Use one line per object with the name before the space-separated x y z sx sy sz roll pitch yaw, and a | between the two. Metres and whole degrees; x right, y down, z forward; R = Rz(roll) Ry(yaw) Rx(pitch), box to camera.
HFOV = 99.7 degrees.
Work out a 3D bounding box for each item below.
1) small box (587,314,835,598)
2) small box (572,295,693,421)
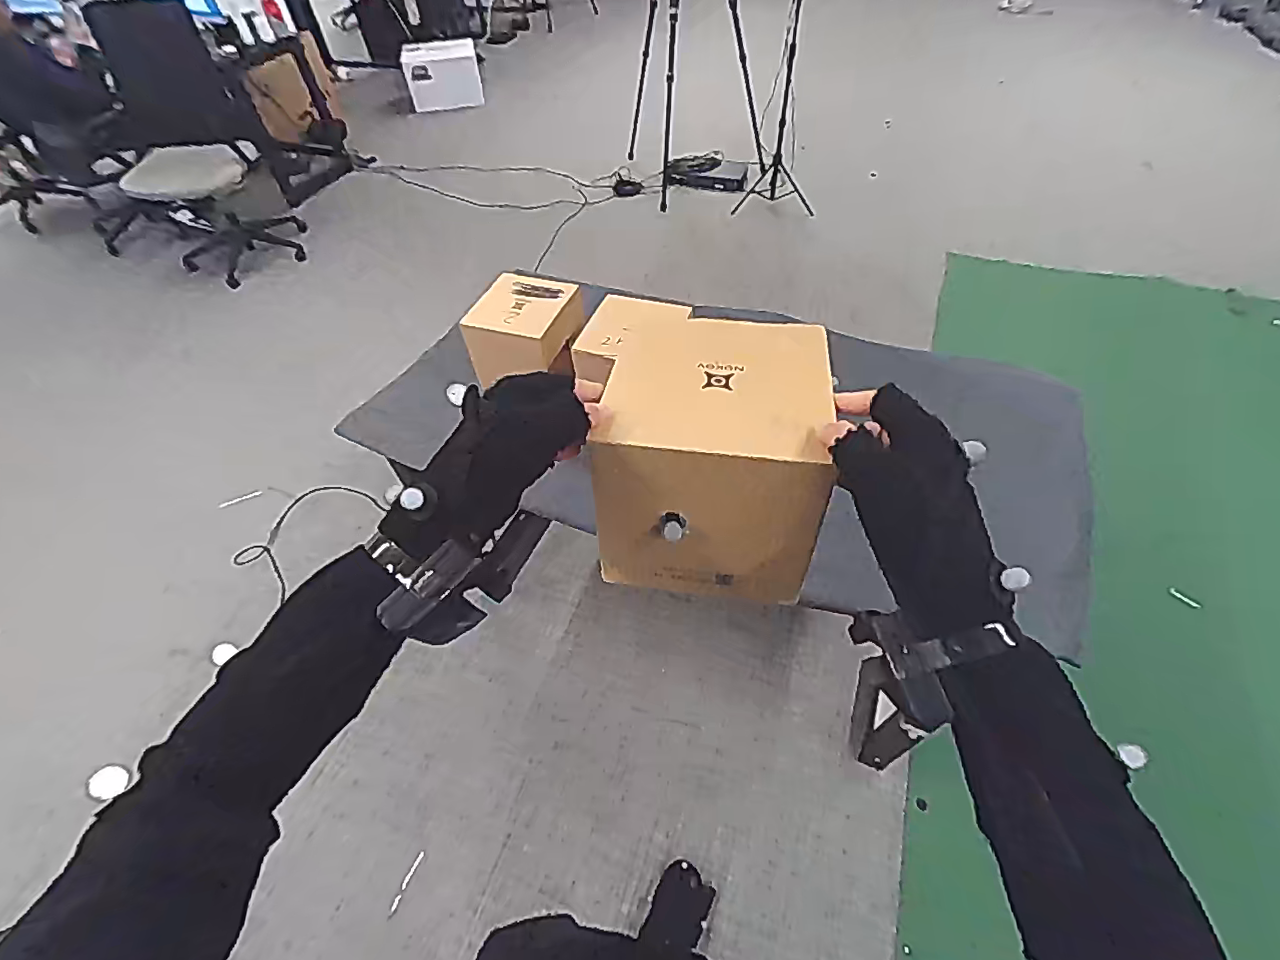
small box | 0.062 -0.021 0.463 0.168 0.176 0.179 6 45 8
small box | -0.008 -0.210 0.996 0.168 0.176 0.179 14 53 14
